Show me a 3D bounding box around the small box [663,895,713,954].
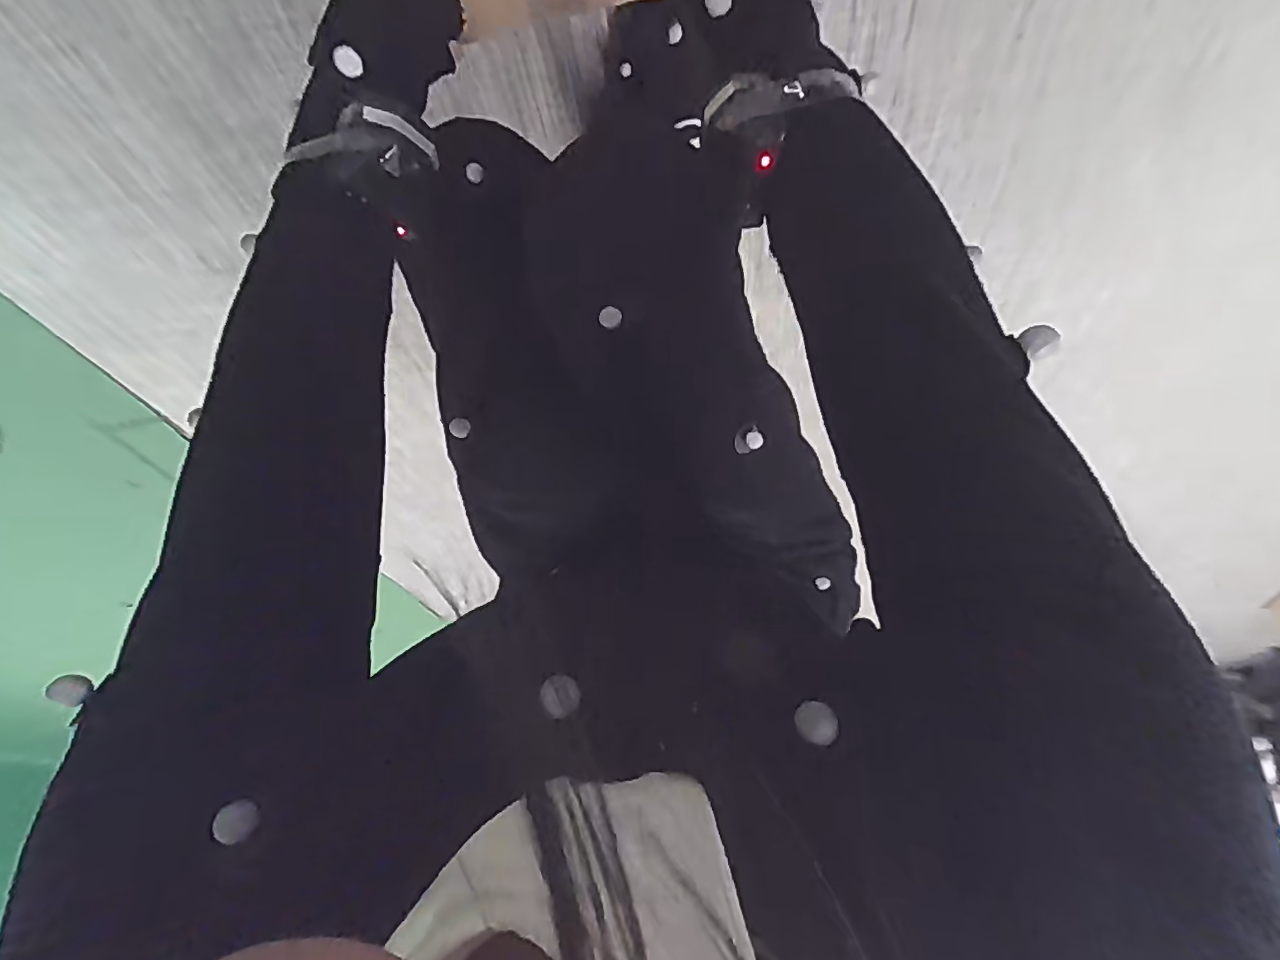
[{"bbox_3d":[0.186,1.734,2.118,0.179,0.176,0.168,-9,145,7],"label":"small box"}]

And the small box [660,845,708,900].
[{"bbox_3d":[0.179,1.613,2.225,0.179,0.176,0.168,-9,146,6],"label":"small box"}]

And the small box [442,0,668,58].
[{"bbox_3d":[-0.081,-0.472,0.419,0.179,0.176,0.168,-9,143,7],"label":"small box"}]
